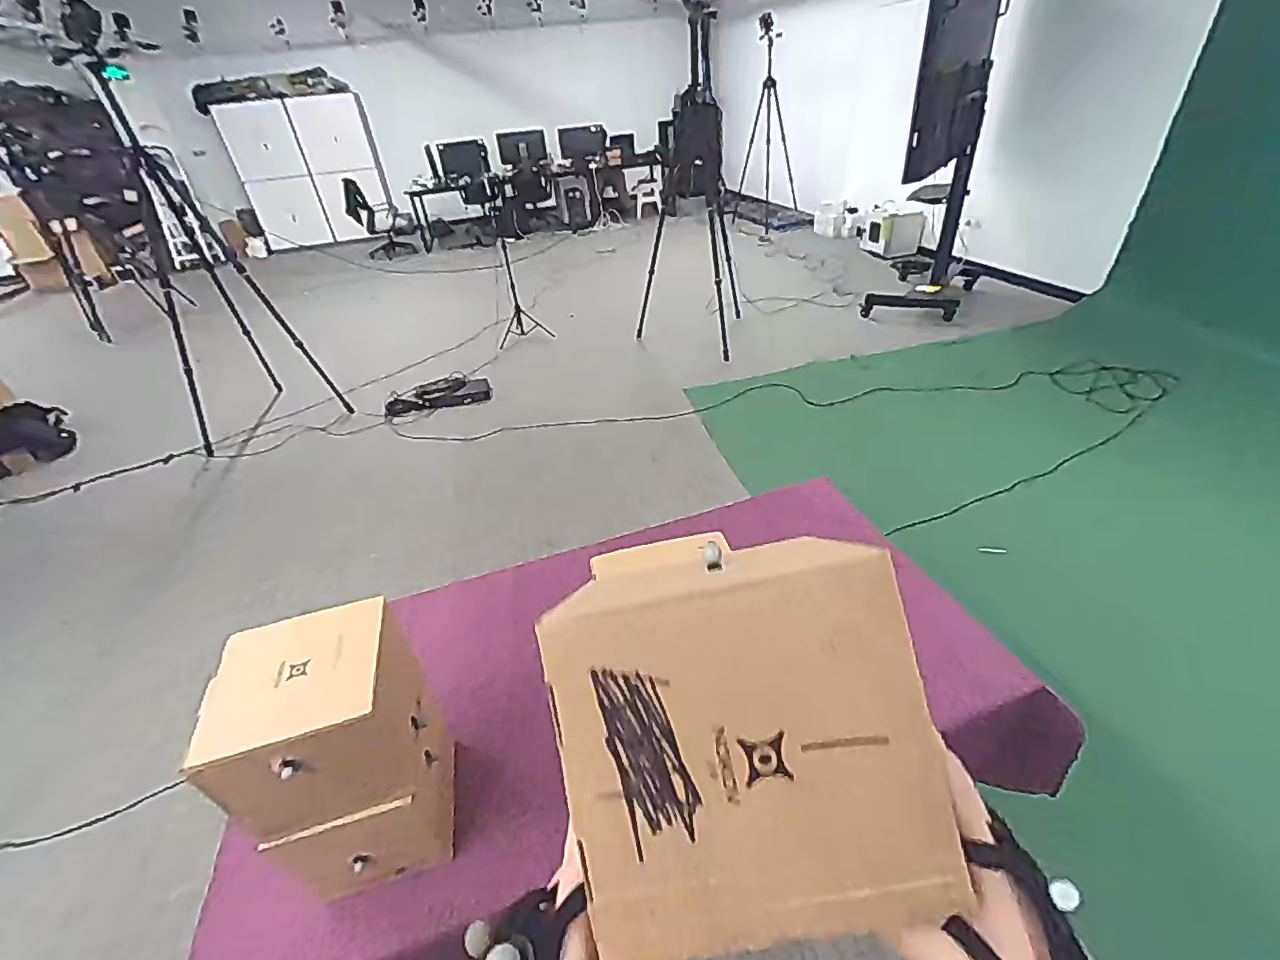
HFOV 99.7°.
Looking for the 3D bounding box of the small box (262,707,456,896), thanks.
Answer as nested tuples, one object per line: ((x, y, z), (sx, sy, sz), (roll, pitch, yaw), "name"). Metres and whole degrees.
((-0.349, 0.410, 0.714), (0.168, 0.176, 0.179), (-13, 36, -9), "small box")

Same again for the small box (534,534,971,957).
((0.054, 0.130, 0.332), (0.179, 0.168, 0.176), (-13, -5, 3), "small box")

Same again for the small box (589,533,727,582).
((0.045, 0.195, 0.668), (0.179, 0.176, 0.168), (-12, 36, -6), "small box")

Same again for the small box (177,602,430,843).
((-0.359, 0.276, 0.621), (0.179, 0.176, 0.168), (-14, 37, -10), "small box")
